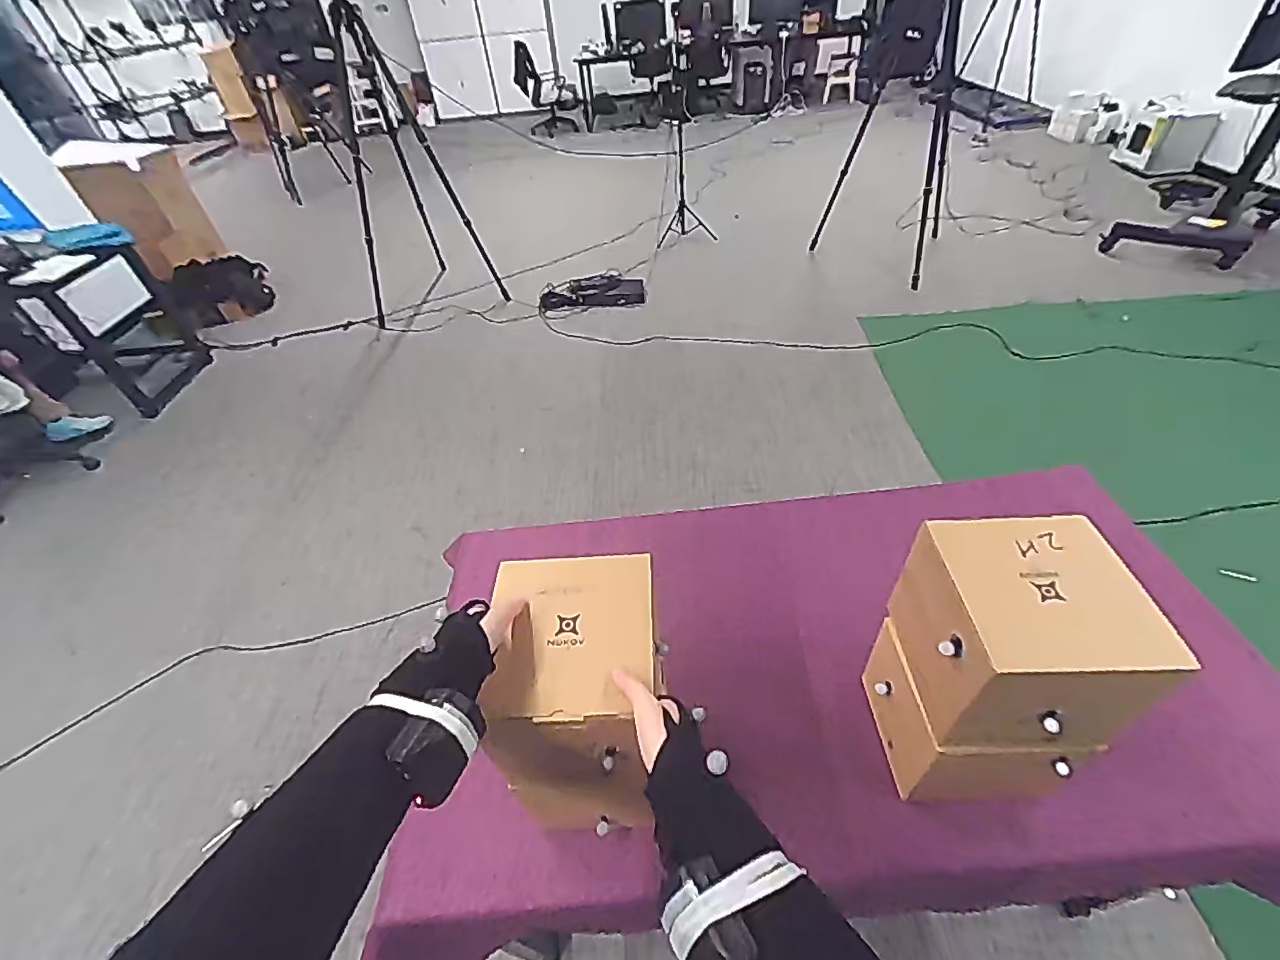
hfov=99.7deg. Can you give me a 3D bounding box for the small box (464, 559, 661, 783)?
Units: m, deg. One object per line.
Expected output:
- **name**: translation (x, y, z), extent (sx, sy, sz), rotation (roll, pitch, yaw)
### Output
- **small box**: translation (-0.064, 0.206, 0.575), extent (0.168, 0.176, 0.179), rotation (-3, 43, 3)

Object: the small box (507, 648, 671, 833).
- **small box**: translation (-0.051, 0.328, 0.683), extent (0.179, 0.176, 0.168), rotation (-4, 43, 3)

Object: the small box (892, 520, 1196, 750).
- **small box**: translation (0.384, 0.163, 0.561), extent (0.168, 0.176, 0.179), rotation (-2, 43, 5)

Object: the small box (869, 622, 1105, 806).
- **small box**: translation (0.399, 0.287, 0.668), extent (0.179, 0.176, 0.168), rotation (-4, 43, 3)
